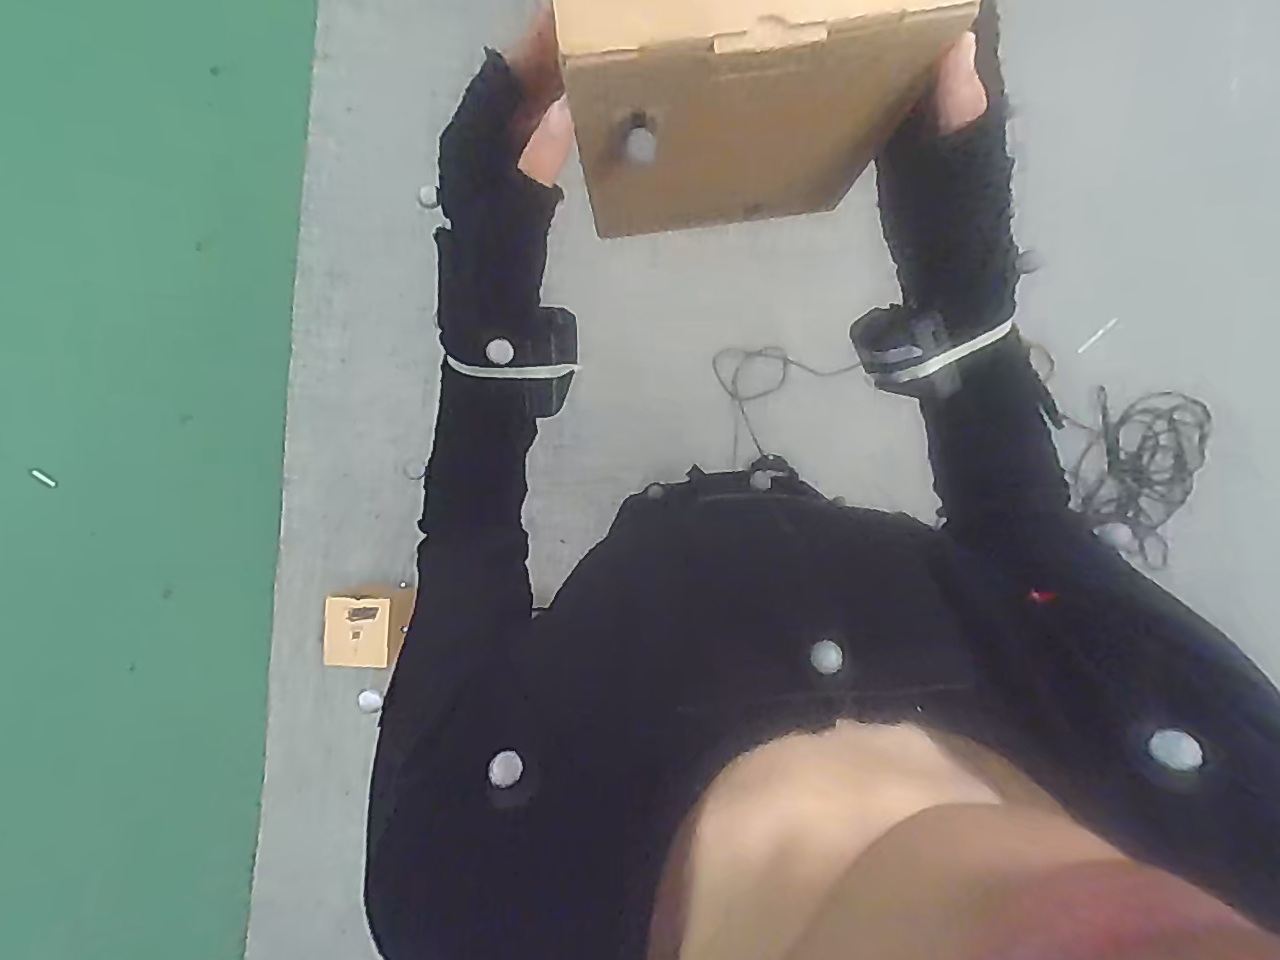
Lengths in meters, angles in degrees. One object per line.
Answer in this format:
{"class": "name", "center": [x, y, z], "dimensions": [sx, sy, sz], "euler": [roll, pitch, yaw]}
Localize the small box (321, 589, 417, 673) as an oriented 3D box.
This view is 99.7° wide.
{"class": "small box", "center": [-0.701, 0.387, 1.413], "dimensions": [0.168, 0.176, 0.179], "euler": [2, 89, 2]}
